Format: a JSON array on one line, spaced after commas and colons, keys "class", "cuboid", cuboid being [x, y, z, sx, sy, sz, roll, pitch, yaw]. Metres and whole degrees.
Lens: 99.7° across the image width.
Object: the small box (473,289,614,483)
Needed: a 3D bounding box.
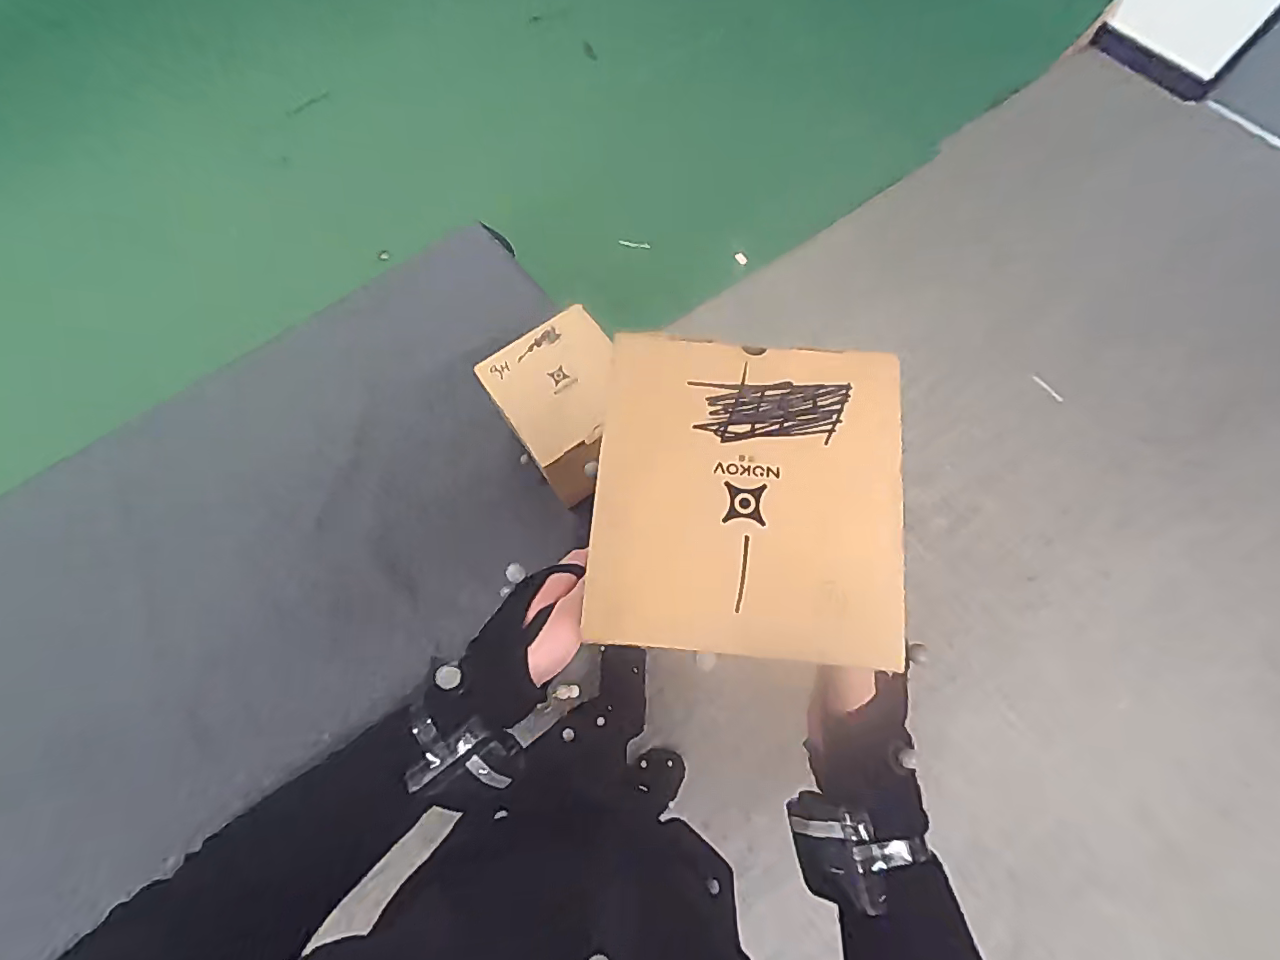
[{"class": "small box", "cuboid": [-0.093, -0.113, 0.740, 0.168, 0.176, 0.179, -34, 73, -9]}]
